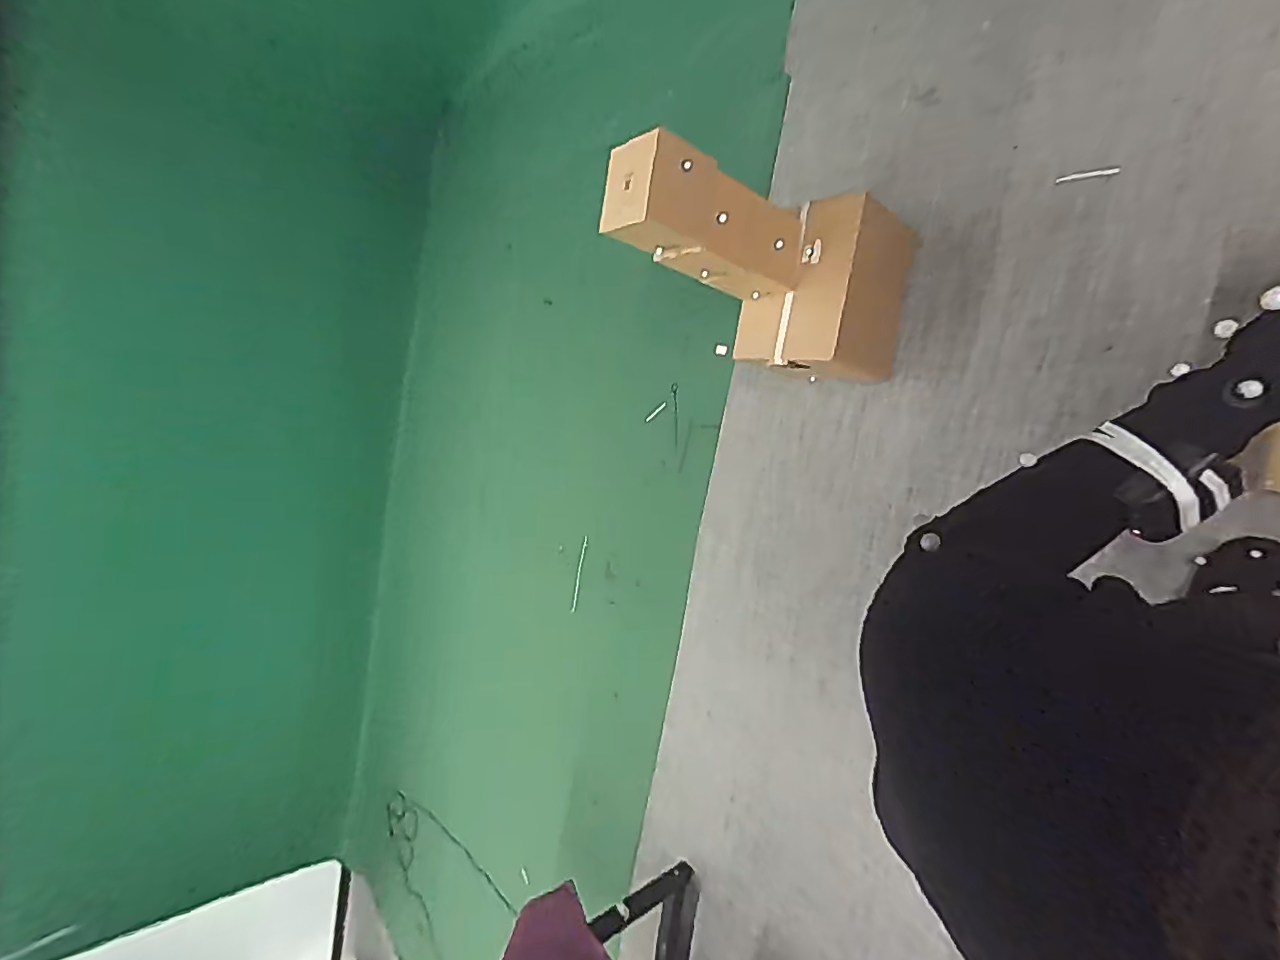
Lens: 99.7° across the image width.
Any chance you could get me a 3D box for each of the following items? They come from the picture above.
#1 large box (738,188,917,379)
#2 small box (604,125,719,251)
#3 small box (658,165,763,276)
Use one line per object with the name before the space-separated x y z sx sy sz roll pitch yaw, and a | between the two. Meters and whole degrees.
large box | 0.515 -0.508 1.493 0.320 0.320 0.408 16 98 47
small box | 0.048 -0.616 1.165 0.168 0.176 0.179 19 103 50
small box | 0.169 -0.601 1.274 0.168 0.176 0.179 16 100 50
